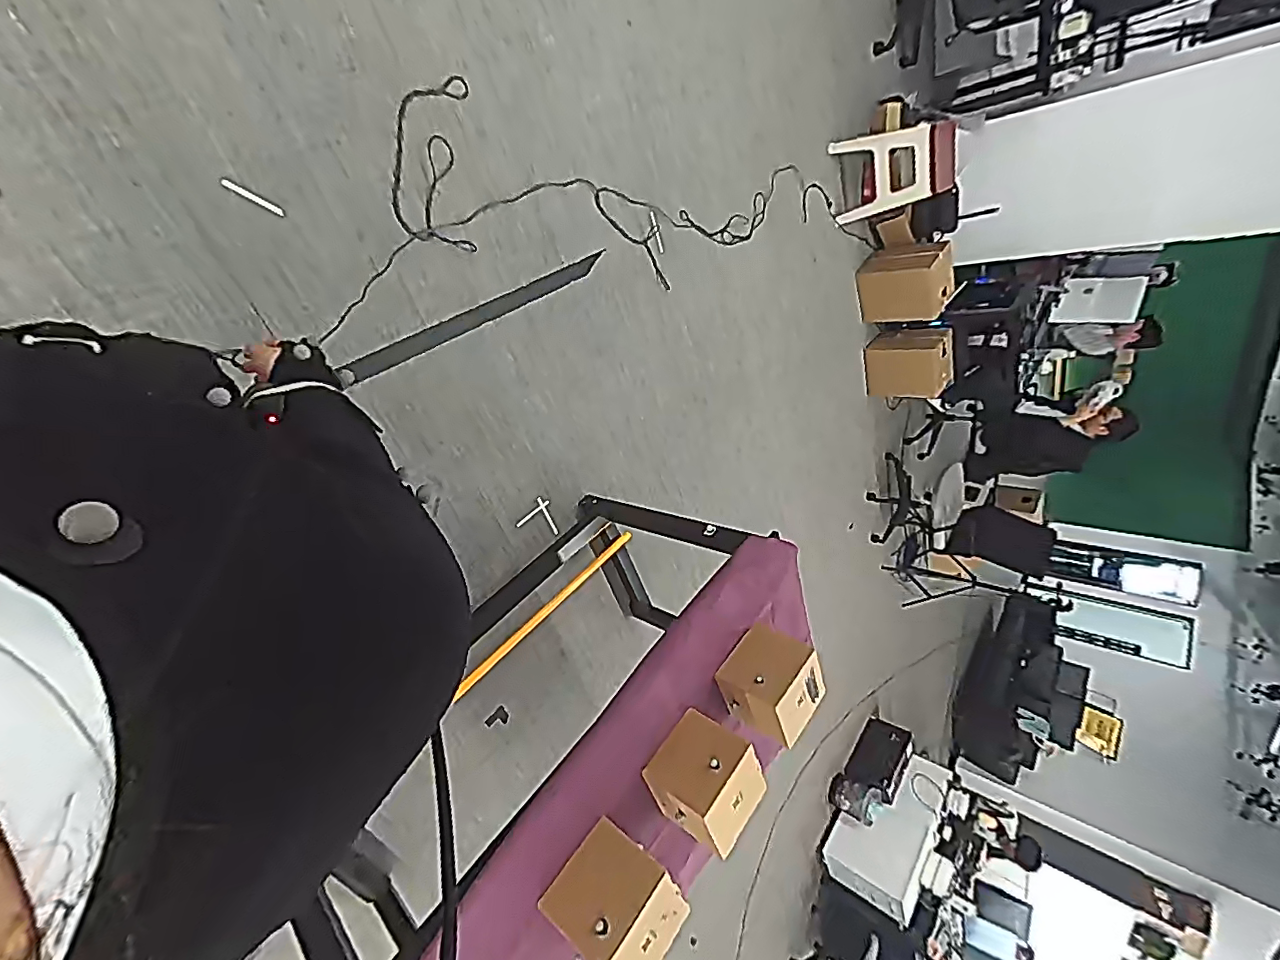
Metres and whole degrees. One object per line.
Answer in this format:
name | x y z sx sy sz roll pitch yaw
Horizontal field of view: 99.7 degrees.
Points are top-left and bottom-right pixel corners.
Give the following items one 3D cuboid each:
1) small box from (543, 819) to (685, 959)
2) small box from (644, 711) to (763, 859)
small box | -0.051 0.766 0.971 0.179 0.176 0.168 -42 128 -33
small box | 0.128 0.630 1.135 0.179 0.176 0.168 -41 126 -33
